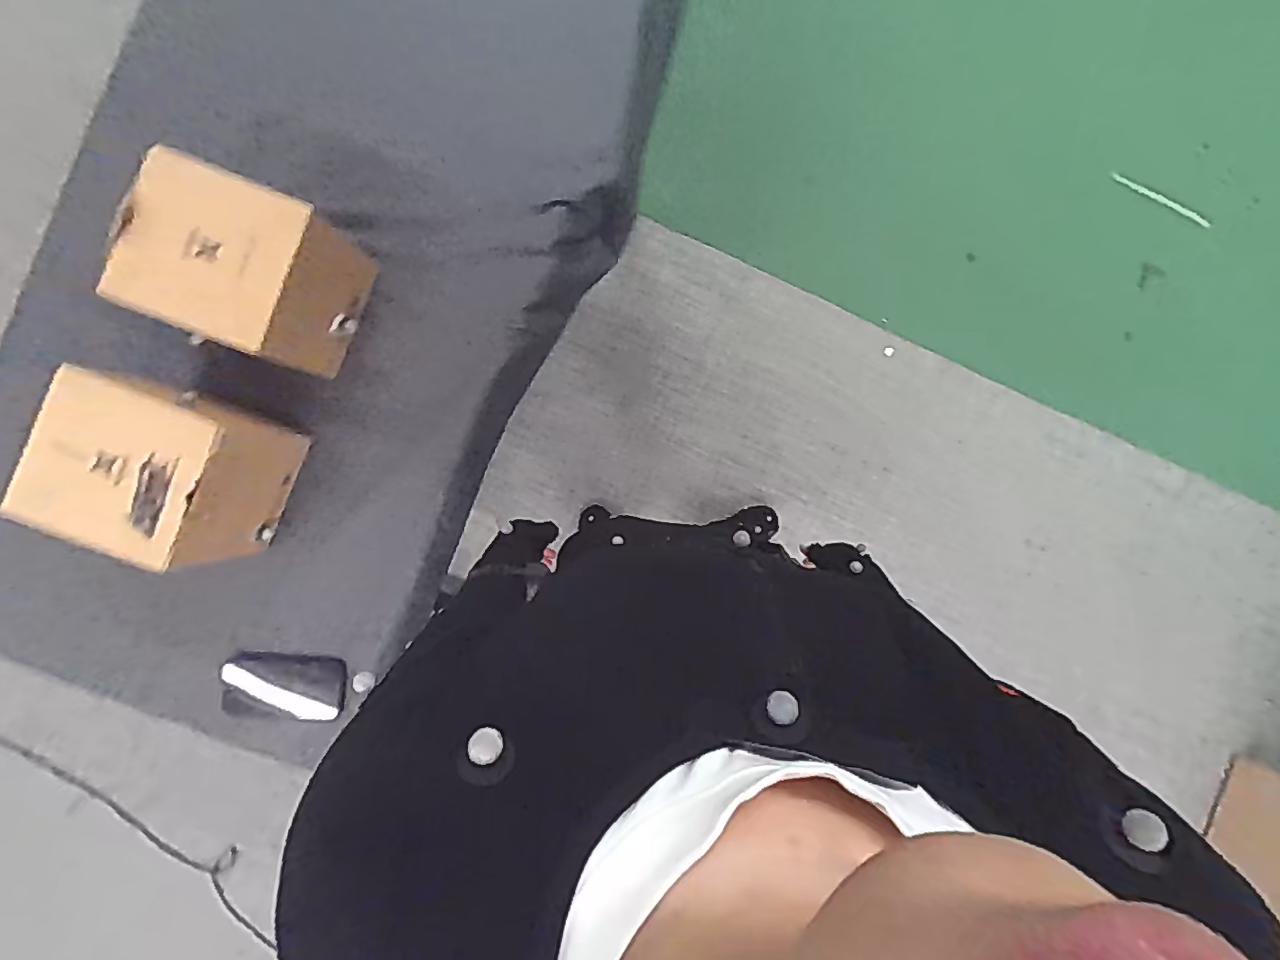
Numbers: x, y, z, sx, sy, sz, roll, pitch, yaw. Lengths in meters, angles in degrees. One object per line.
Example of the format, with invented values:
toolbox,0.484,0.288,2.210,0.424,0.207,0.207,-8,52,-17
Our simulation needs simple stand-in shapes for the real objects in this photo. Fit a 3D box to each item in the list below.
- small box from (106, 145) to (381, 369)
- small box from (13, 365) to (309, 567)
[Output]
small box,-0.449,-0.245,0.643,0.179,0.176,0.168,20,91,-4
small box,-0.538,-0.016,0.638,0.179,0.176,0.168,21,90,-2
